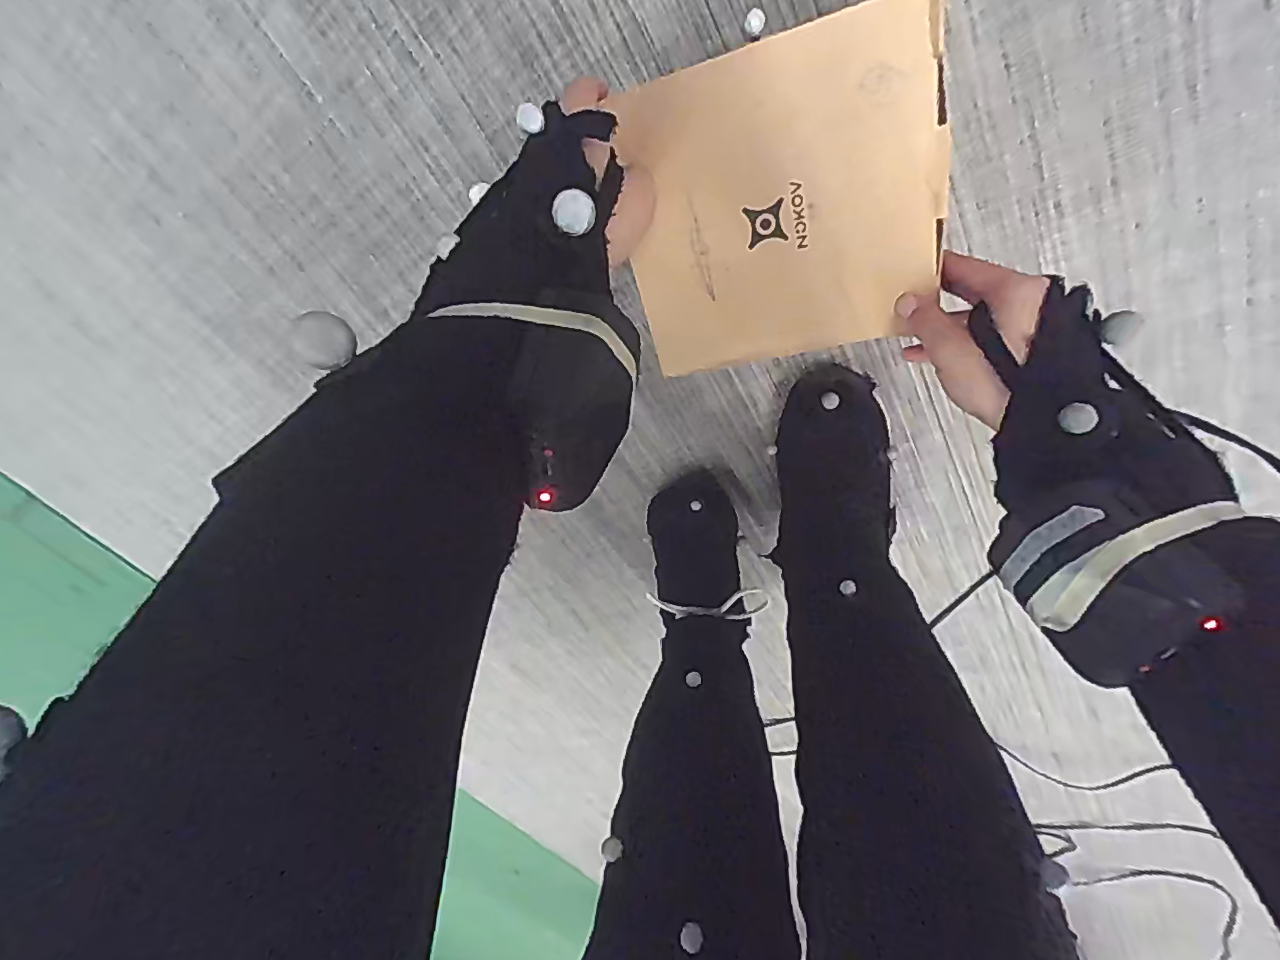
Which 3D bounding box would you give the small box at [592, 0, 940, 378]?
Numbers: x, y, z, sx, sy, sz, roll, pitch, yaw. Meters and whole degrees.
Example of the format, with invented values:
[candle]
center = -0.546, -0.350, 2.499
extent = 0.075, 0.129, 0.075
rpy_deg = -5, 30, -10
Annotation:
[small box]
center = 0.090, -0.194, 0.374
extent = 0.179, 0.176, 0.168
rpy_deg = -8, 123, 19
